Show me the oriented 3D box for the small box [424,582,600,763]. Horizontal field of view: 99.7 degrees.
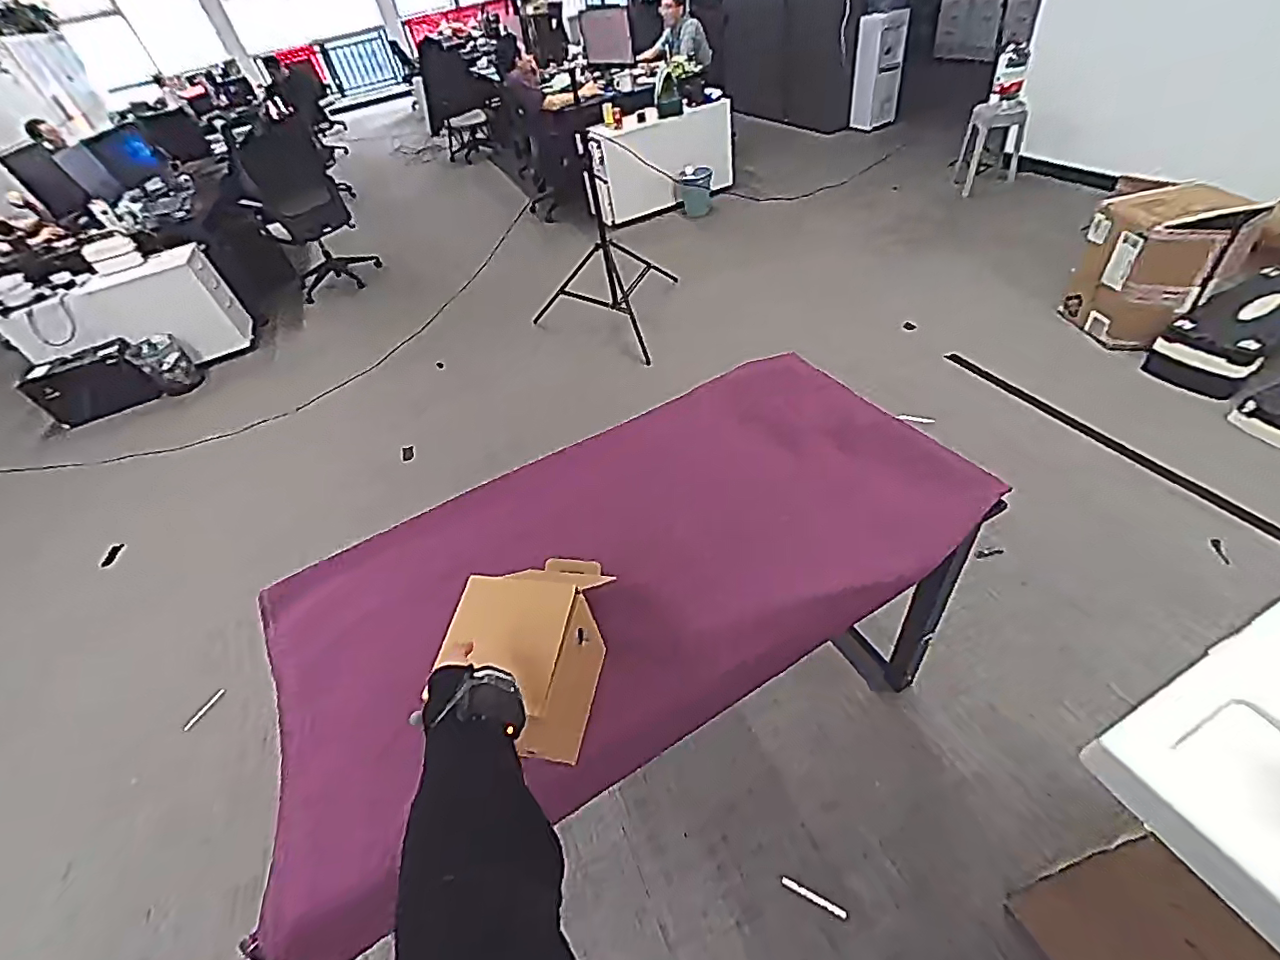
[{"bbox_3d":[-0.164,0.270,0.767,0.168,0.176,0.179,2,46,16],"label":"small box"}]
